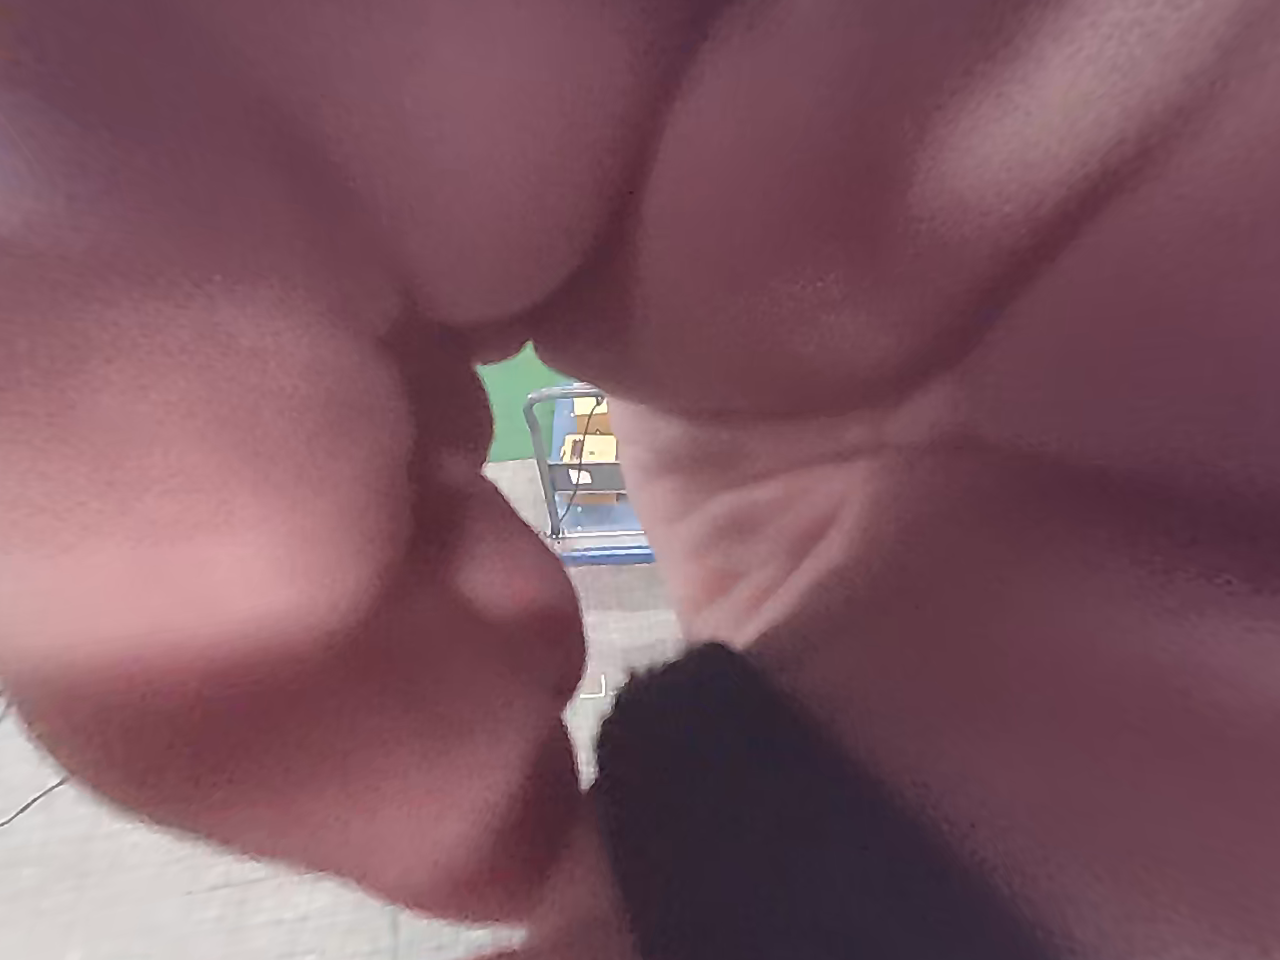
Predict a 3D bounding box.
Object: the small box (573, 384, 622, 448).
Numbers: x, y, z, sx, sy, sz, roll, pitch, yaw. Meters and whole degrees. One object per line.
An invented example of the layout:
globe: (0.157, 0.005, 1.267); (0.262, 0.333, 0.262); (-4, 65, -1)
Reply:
small box: (-0.157, -0.234, 2.015); (0.168, 0.176, 0.179); (-5, 50, -4)
